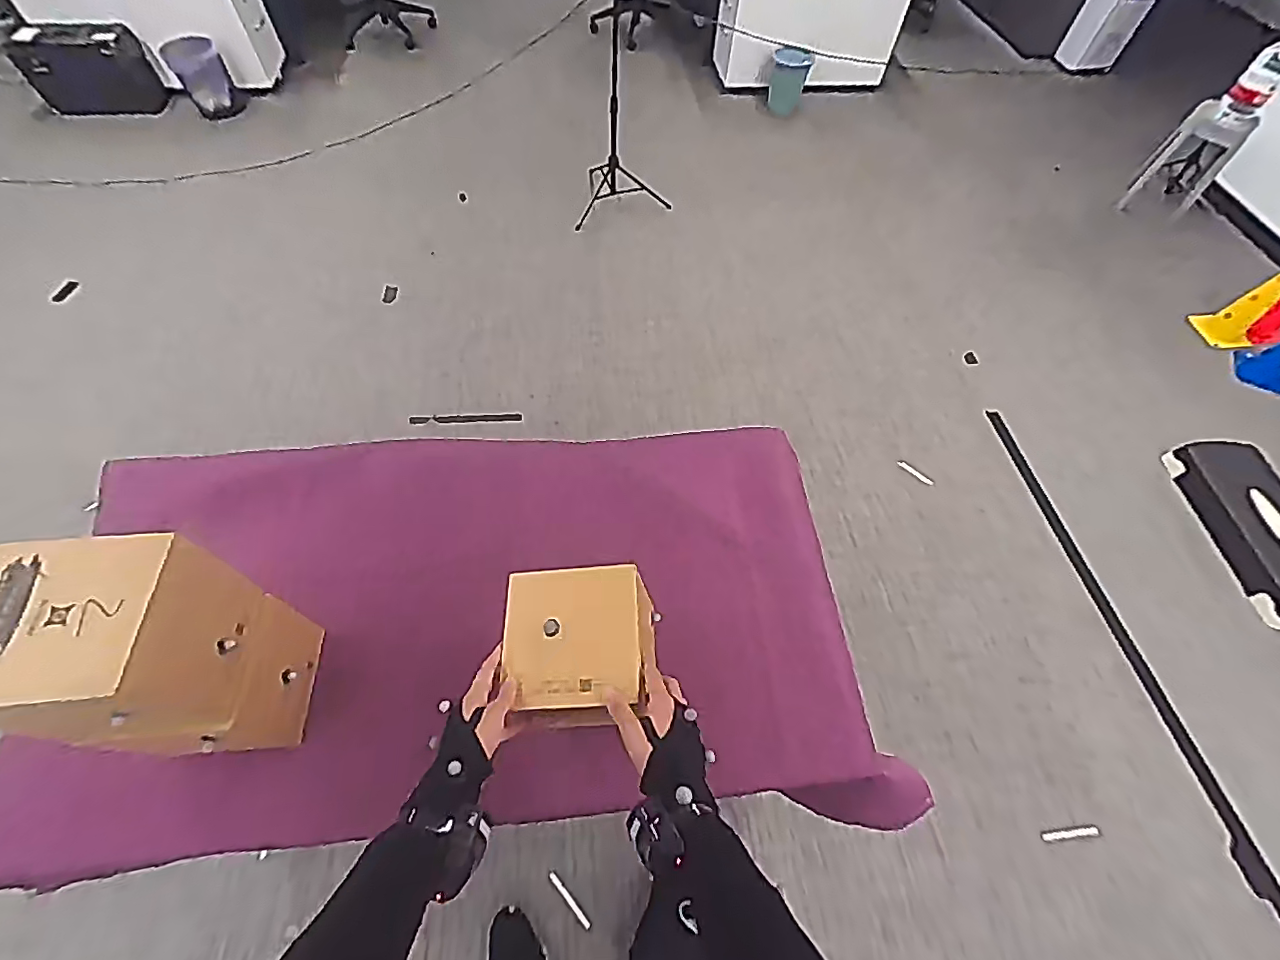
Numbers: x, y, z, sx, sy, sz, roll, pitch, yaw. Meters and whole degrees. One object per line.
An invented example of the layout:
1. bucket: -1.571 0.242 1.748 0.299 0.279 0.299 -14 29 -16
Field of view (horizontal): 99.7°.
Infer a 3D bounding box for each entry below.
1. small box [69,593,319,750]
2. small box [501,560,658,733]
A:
1. small box: -0.564 0.258 0.721 0.179 0.176 0.168 -2 58 -5
2. small box: -0.071 0.223 0.704 0.168 0.179 0.176 -7 58 8
